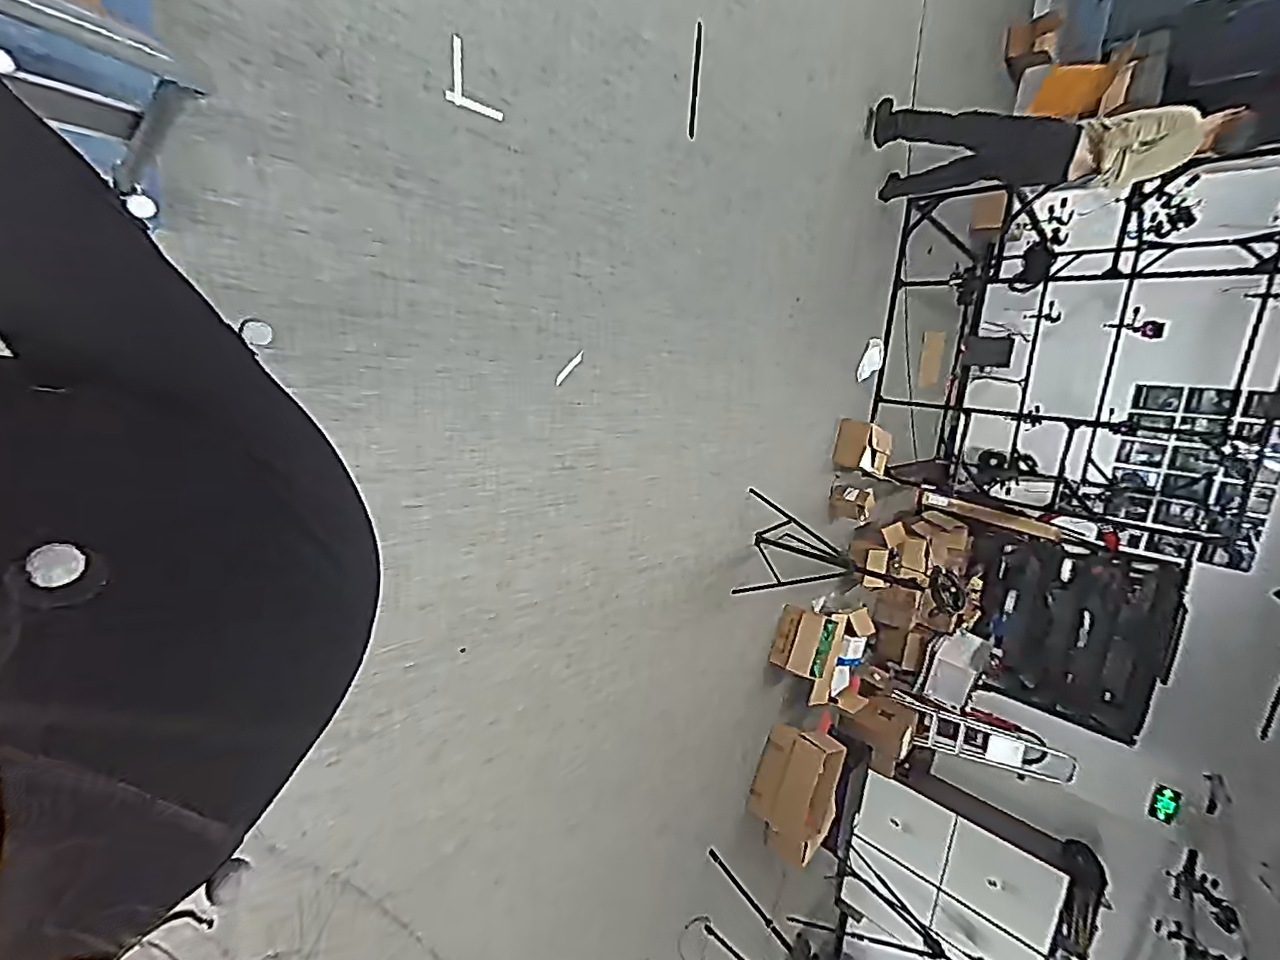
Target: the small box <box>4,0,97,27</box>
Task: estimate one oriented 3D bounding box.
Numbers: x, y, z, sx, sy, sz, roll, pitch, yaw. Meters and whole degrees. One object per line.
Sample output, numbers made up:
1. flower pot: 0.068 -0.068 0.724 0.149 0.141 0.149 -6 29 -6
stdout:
1. small box: -0.854 -0.756 0.720 0.179 0.176 0.168 -9 108 -47
